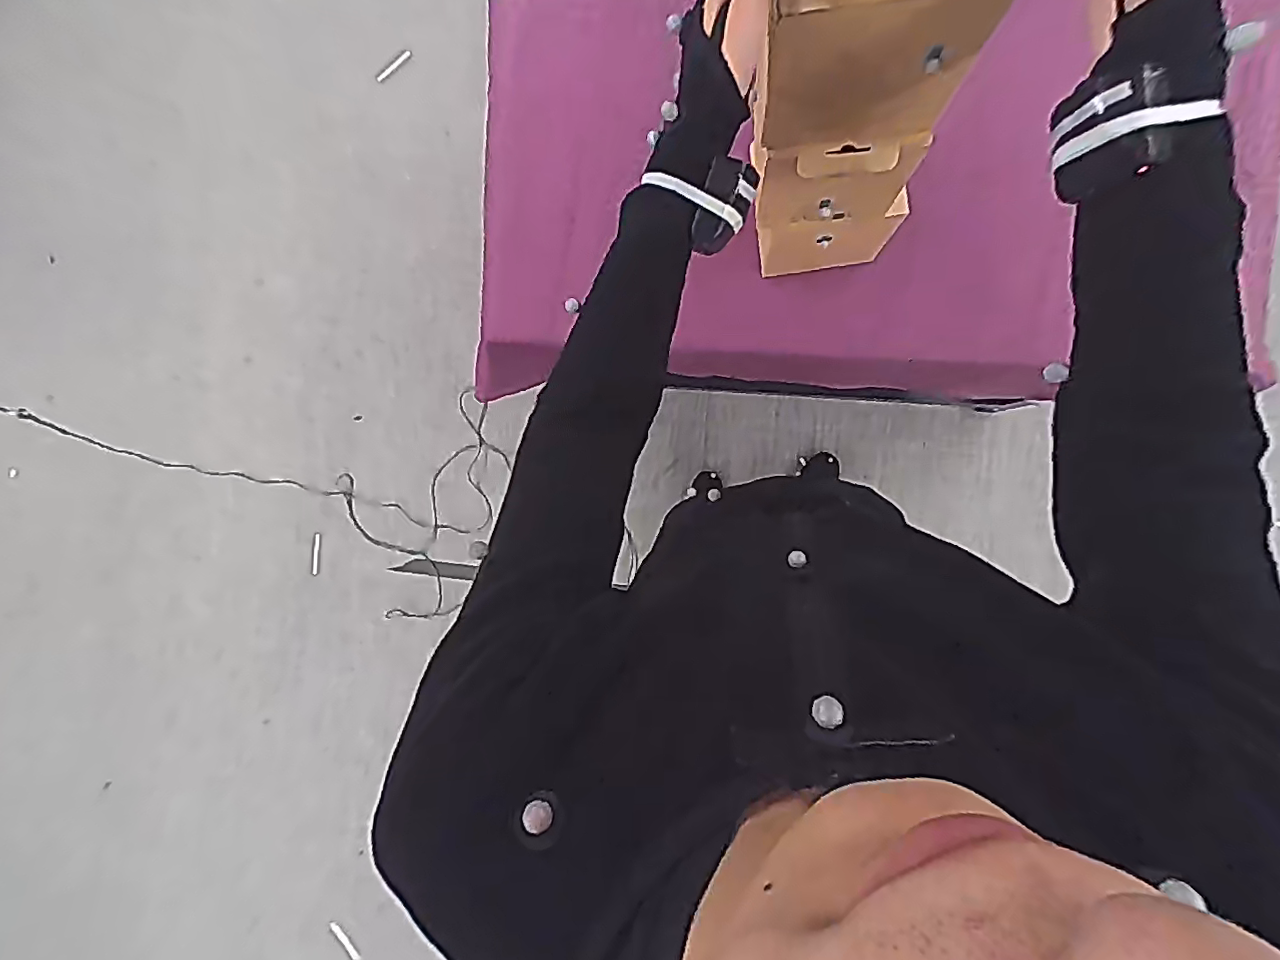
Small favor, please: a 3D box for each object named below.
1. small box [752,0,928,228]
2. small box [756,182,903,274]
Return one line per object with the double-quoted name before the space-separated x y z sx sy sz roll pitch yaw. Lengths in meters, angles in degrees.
"small box" 0.221 -0.425 0.637 0.168 0.176 0.179 -1 91 8
"small box" 0.263 -0.420 0.798 0.179 0.176 0.168 -6 91 7
